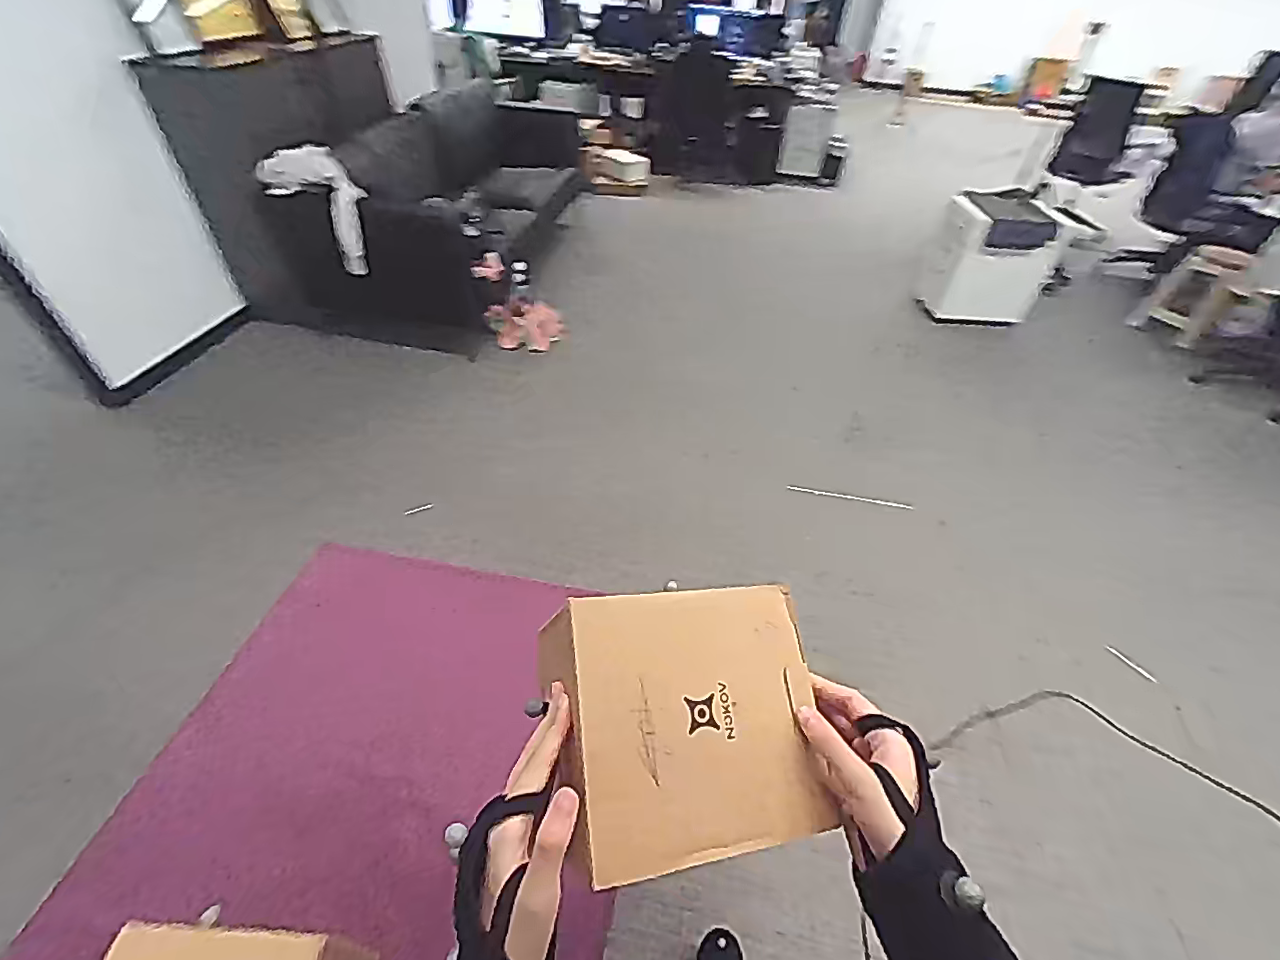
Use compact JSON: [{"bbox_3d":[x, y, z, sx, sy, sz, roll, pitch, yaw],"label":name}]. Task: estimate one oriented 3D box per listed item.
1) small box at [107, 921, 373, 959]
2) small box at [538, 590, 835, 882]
[{"bbox_3d":[-0.368,0.504,0.470,0.179,0.176,0.168,4,45,-1],"label":"small box"},{"bbox_3d":[0.019,0.187,0.434,0.179,0.176,0.168,1,67,-18],"label":"small box"}]
